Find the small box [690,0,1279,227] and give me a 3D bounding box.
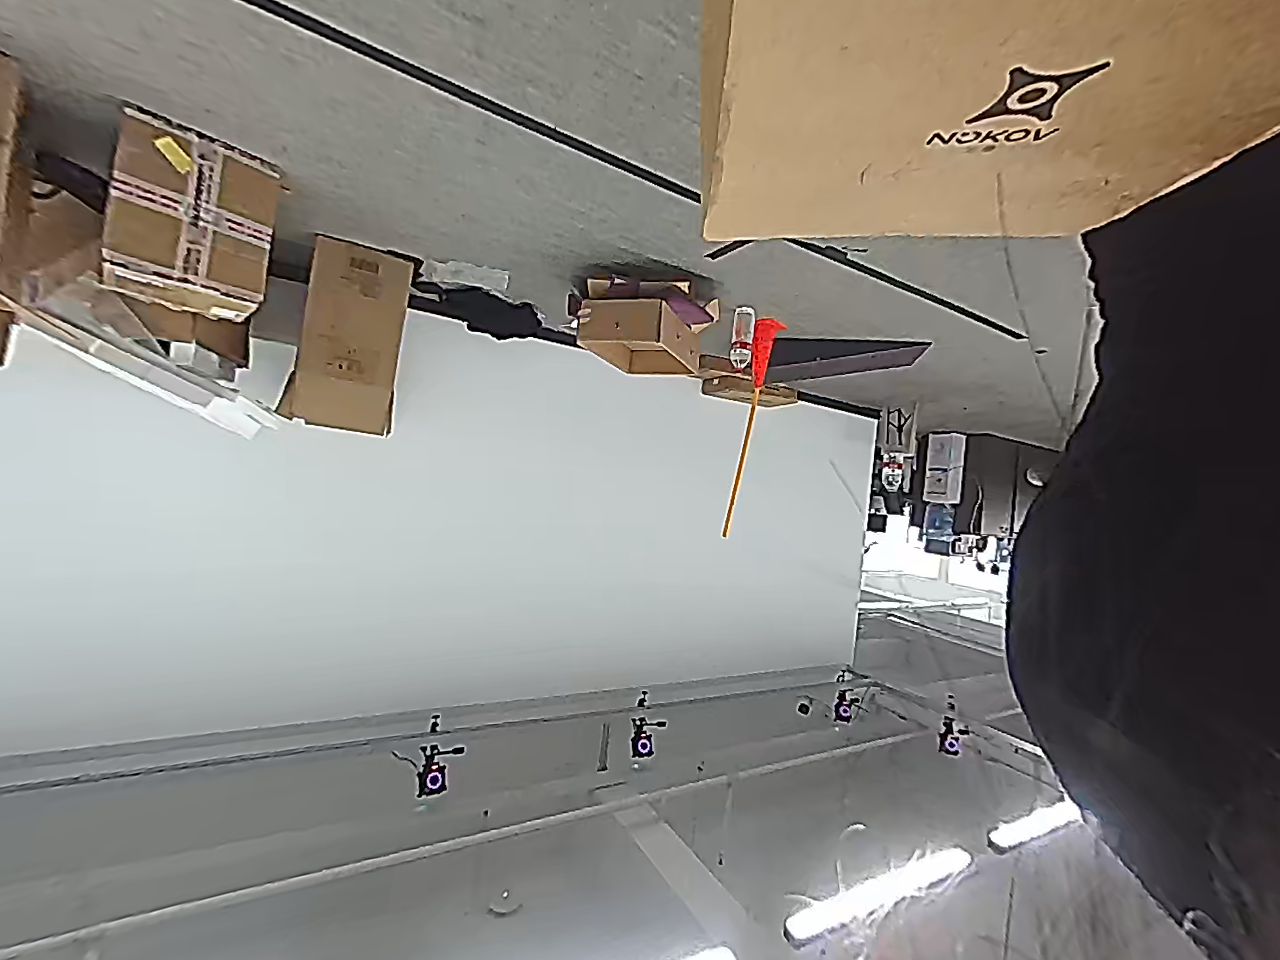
[{"bbox_3d":[0.101,-0.191,0.152,0.168,0.176,0.179,0,-177,3],"label":"small box"}]
